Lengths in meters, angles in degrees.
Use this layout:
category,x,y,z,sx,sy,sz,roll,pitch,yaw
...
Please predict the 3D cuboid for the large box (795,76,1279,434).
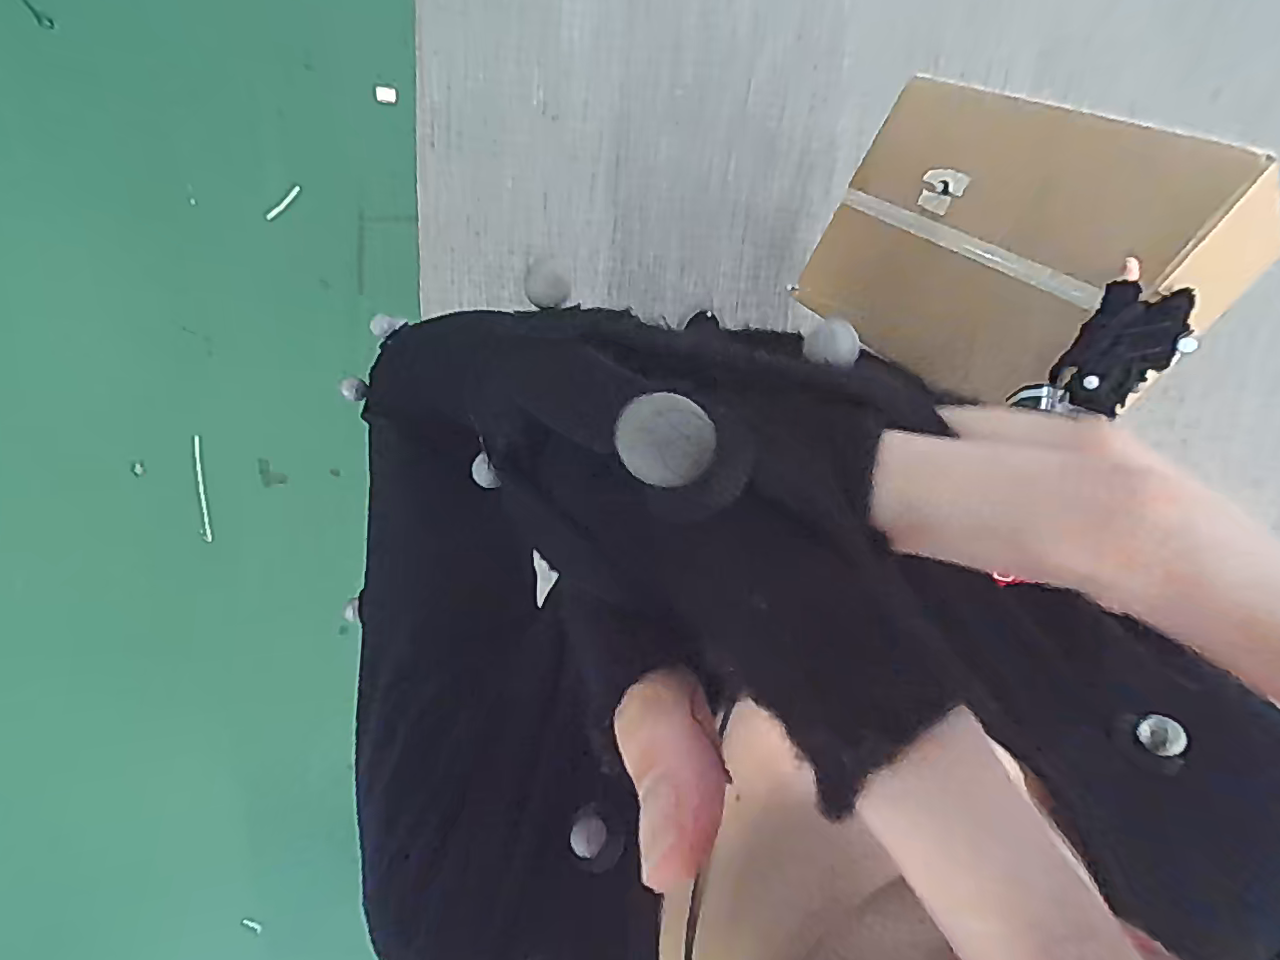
category,x,y,z,sx,sy,sz,roll,pitch,yaw
large box,0.517,-0.299,0.758,0.320,0.408,0.320,0,128,-39
